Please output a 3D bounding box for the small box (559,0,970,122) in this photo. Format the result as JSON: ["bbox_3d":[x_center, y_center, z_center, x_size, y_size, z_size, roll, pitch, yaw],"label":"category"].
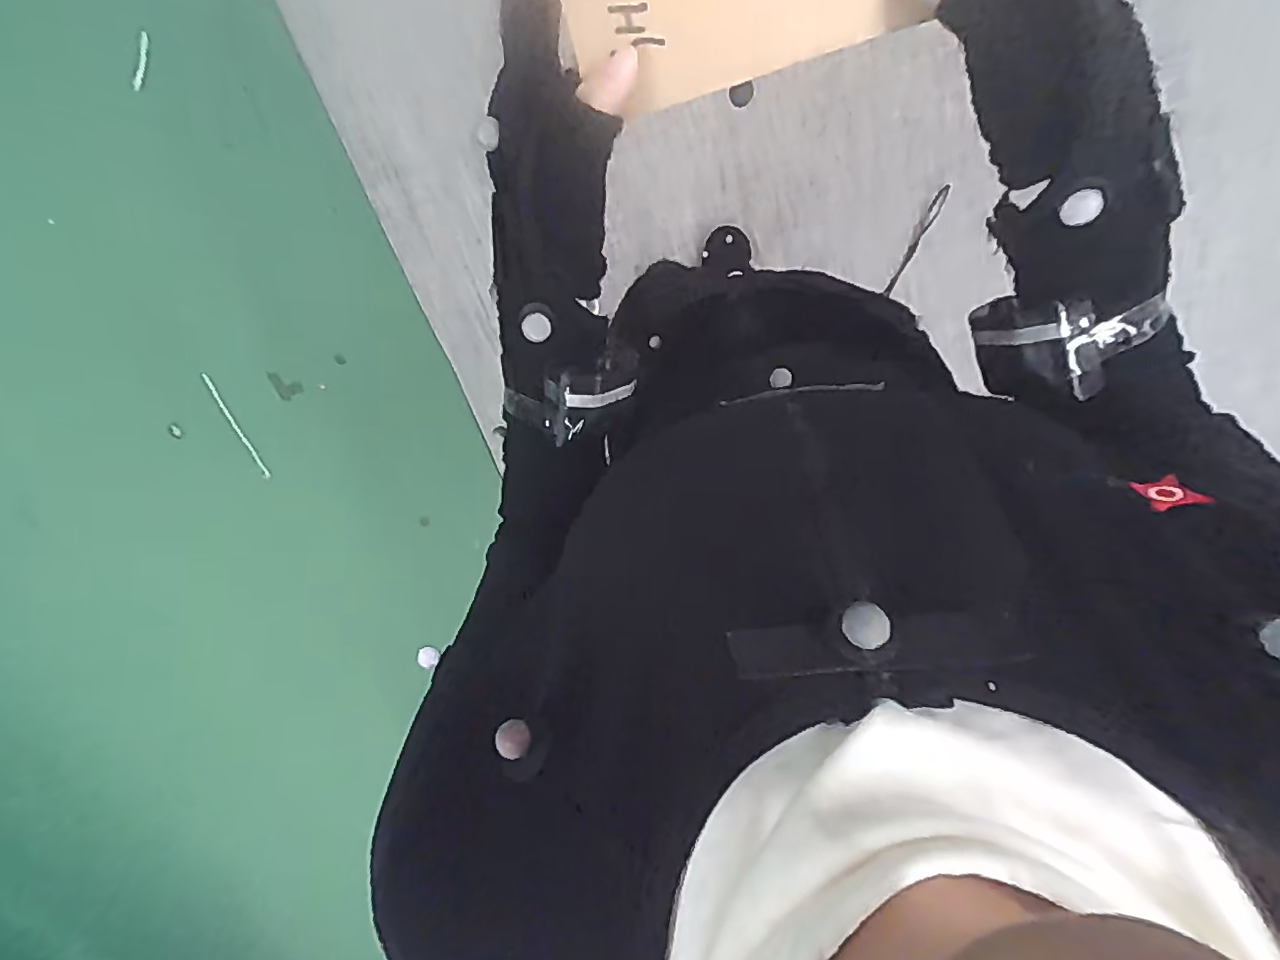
[{"bbox_3d":[0.038,-0.295,0.259,0.179,0.176,0.168,-13,125,8],"label":"small box"}]
